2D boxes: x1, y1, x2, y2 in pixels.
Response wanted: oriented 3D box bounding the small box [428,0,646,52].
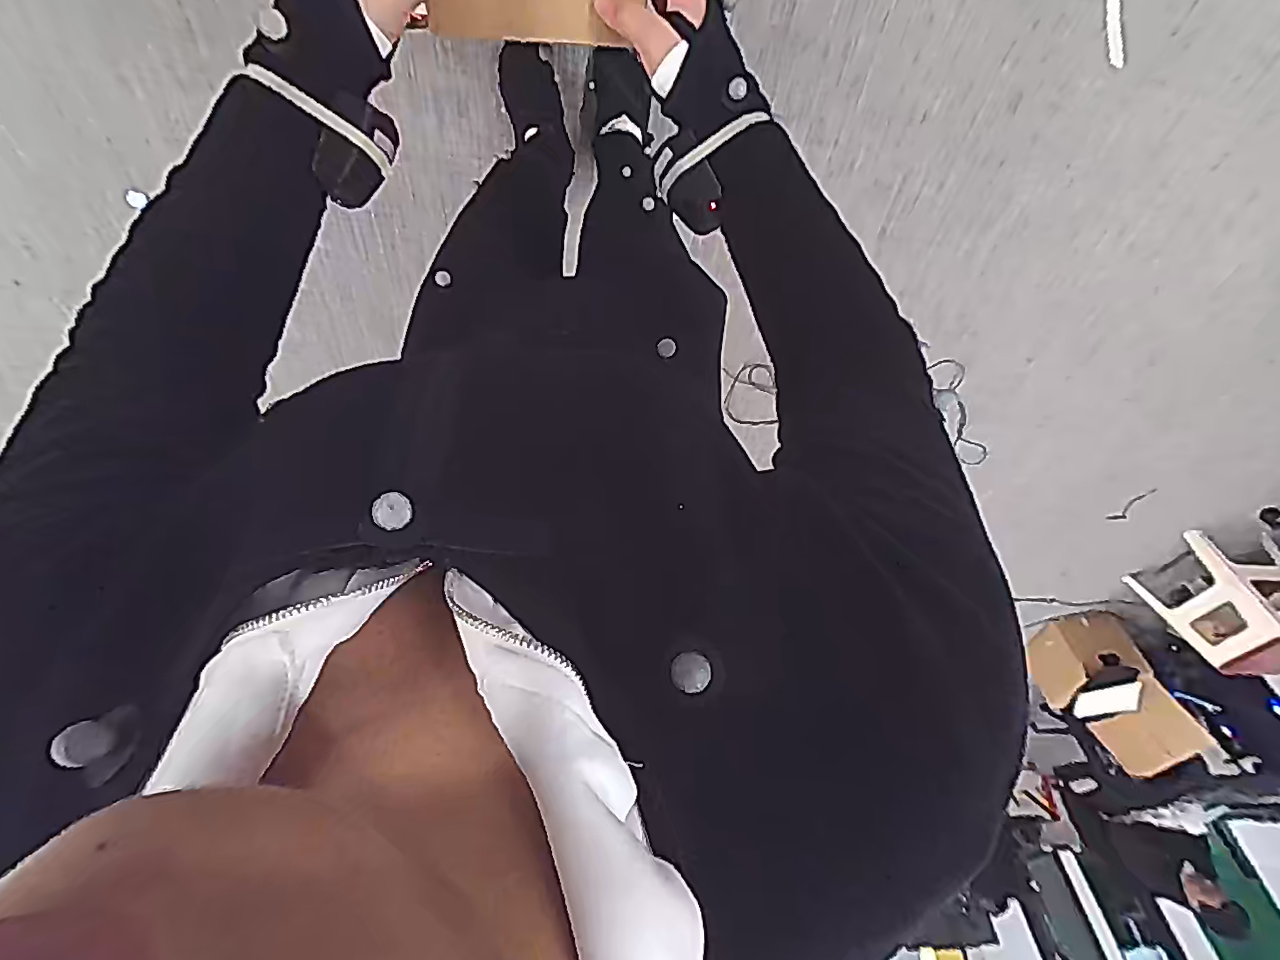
[{"bbox_3d":[-0.073,-0.457,0.426,0.168,0.176,0.179,2,130,-2],"label":"small box"}]
